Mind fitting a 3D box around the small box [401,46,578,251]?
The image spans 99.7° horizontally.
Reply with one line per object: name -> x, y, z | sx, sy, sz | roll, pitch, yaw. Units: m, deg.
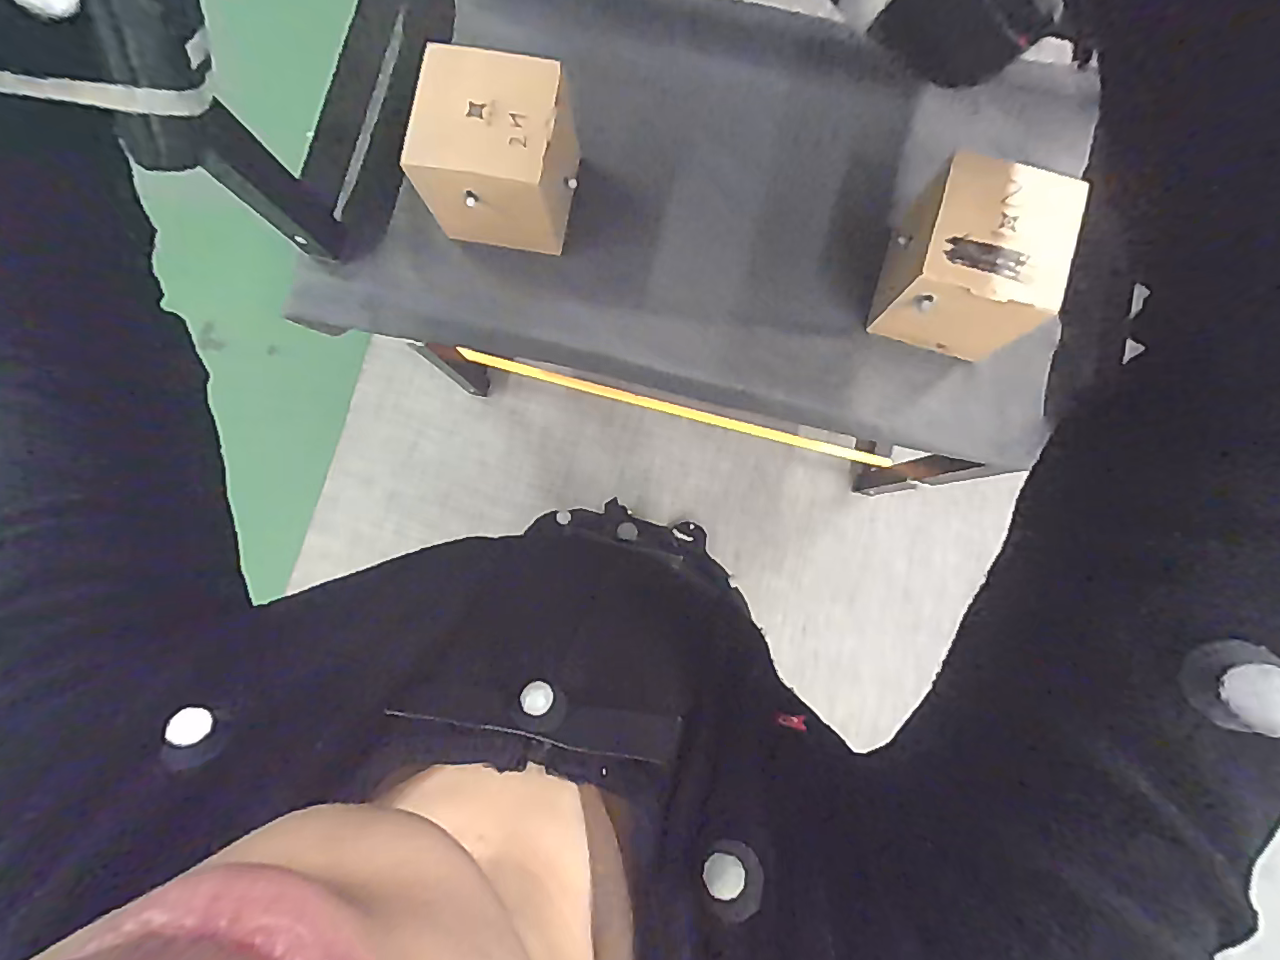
small box -> -0.193, -0.440, 0.744 | 0.179, 0.176, 0.168 | 10, 85, 1
